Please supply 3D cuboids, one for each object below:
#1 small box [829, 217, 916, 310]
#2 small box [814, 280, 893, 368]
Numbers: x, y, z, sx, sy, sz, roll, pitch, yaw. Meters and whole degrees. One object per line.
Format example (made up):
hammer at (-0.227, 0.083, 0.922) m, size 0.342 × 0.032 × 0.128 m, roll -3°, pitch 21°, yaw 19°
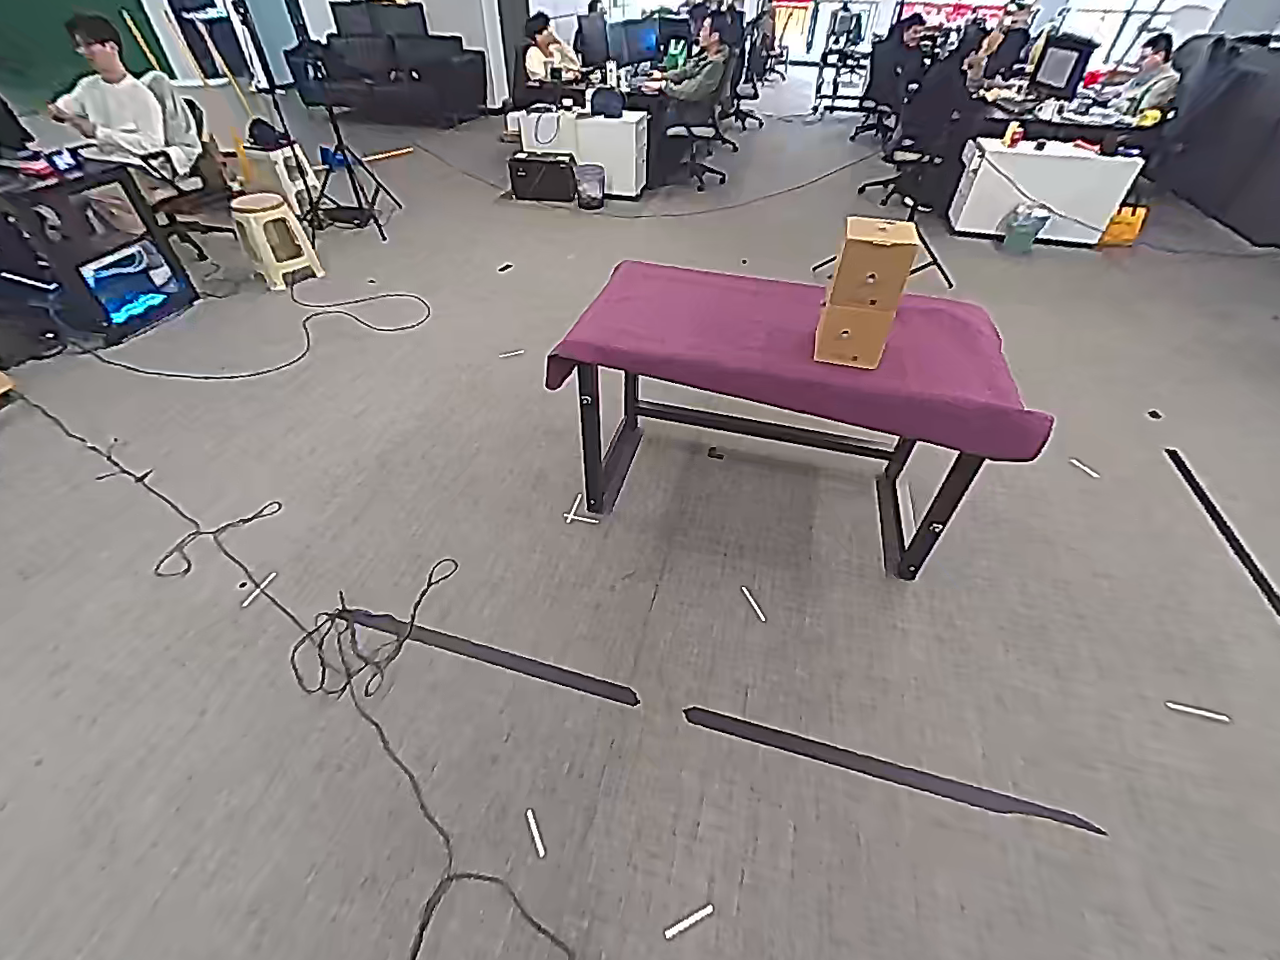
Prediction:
small box at (0.588, -0.552, 1.380) m, size 0.168 × 0.176 × 0.179 m, roll 12°, pitch 44°, yaw 11°
small box at (0.584, -0.429, 1.489) m, size 0.168 × 0.176 × 0.179 m, roll 11°, pitch 44°, yaw 11°
